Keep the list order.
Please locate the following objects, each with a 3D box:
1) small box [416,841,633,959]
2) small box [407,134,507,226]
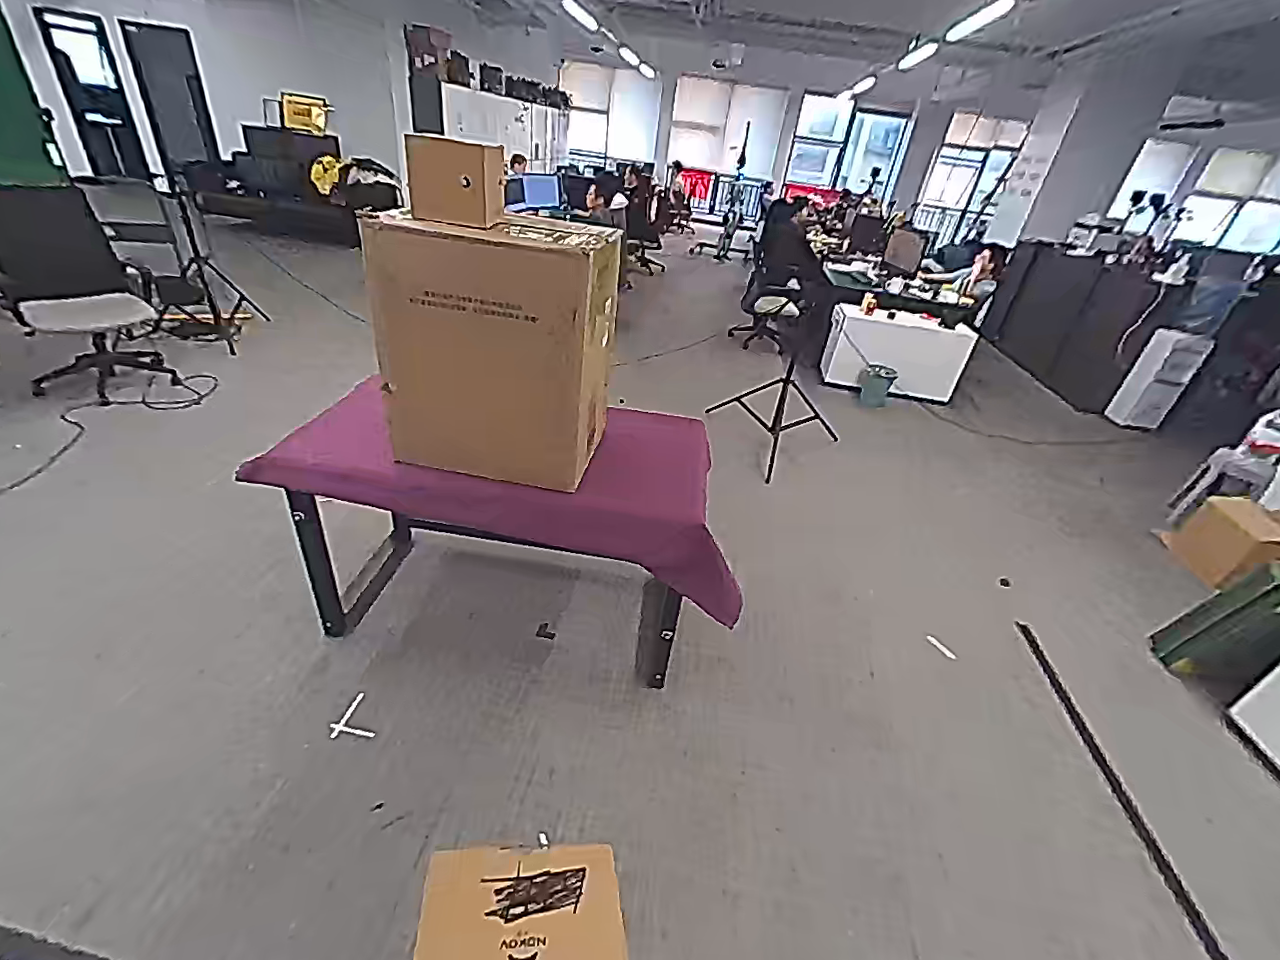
[{"bbox_3d":[-0.102,0.434,0.434,0.168,0.176,0.179,7,18,-15],"label":"small box"},{"bbox_3d":[-0.416,-0.695,1.258,0.179,0.176,0.168,7,31,-1],"label":"small box"}]
